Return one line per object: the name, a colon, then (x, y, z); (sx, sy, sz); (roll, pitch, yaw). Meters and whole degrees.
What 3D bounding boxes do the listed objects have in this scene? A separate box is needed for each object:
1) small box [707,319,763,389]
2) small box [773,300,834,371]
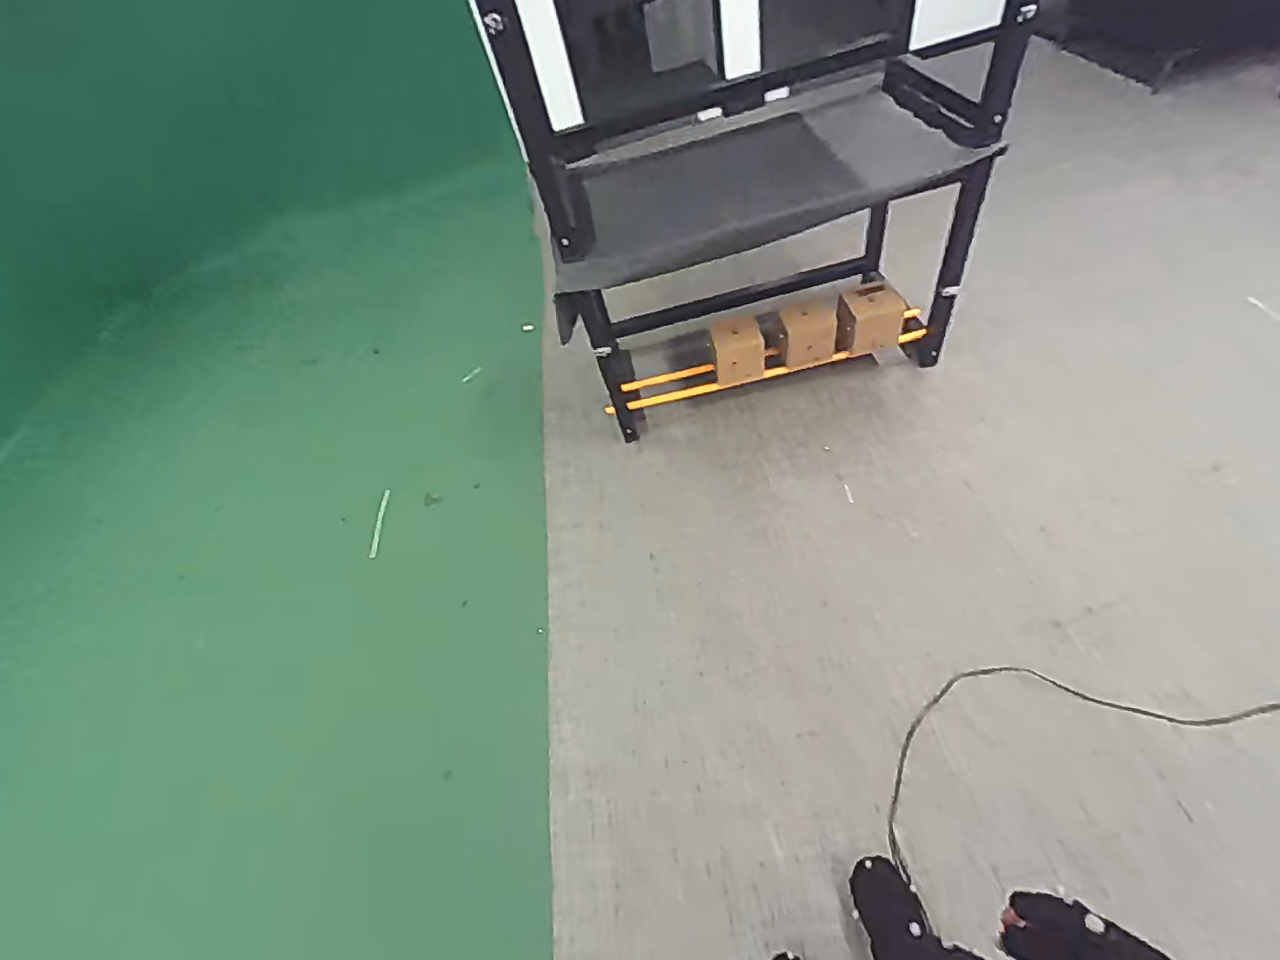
small box: (0.346, -0.448, 1.956); (0.168, 0.176, 0.179); (-12, 51, 4)
small box: (0.584, -0.510, 1.940); (0.168, 0.176, 0.179); (-14, 50, 4)
